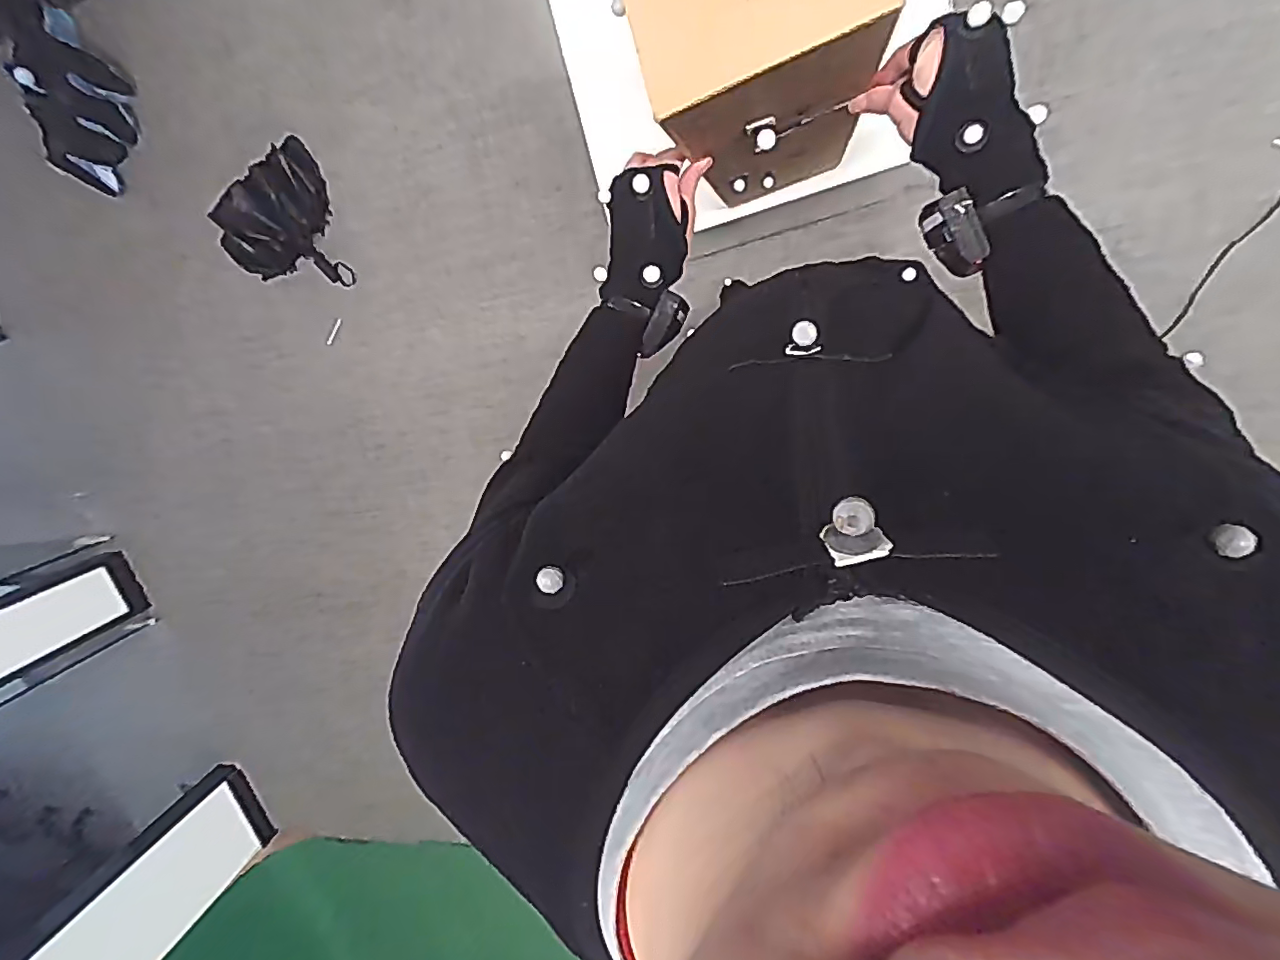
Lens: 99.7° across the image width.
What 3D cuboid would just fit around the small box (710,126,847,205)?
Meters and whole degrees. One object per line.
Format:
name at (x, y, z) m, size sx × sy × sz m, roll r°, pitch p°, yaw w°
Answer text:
small box at (0.159, -0.484, 0.702) m, size 0.168 × 0.176 × 0.179 m, roll -14°, pitch 105°, yaw 20°

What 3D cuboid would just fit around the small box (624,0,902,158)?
small box at (0.079, -0.377, 0.402) m, size 0.168 × 0.176 × 0.179 m, roll -13°, pitch 105°, yaw 20°

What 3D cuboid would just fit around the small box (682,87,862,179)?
small box at (0.118, -0.430, 0.551) m, size 0.168 × 0.176 × 0.179 m, roll -13°, pitch 104°, yaw 19°
